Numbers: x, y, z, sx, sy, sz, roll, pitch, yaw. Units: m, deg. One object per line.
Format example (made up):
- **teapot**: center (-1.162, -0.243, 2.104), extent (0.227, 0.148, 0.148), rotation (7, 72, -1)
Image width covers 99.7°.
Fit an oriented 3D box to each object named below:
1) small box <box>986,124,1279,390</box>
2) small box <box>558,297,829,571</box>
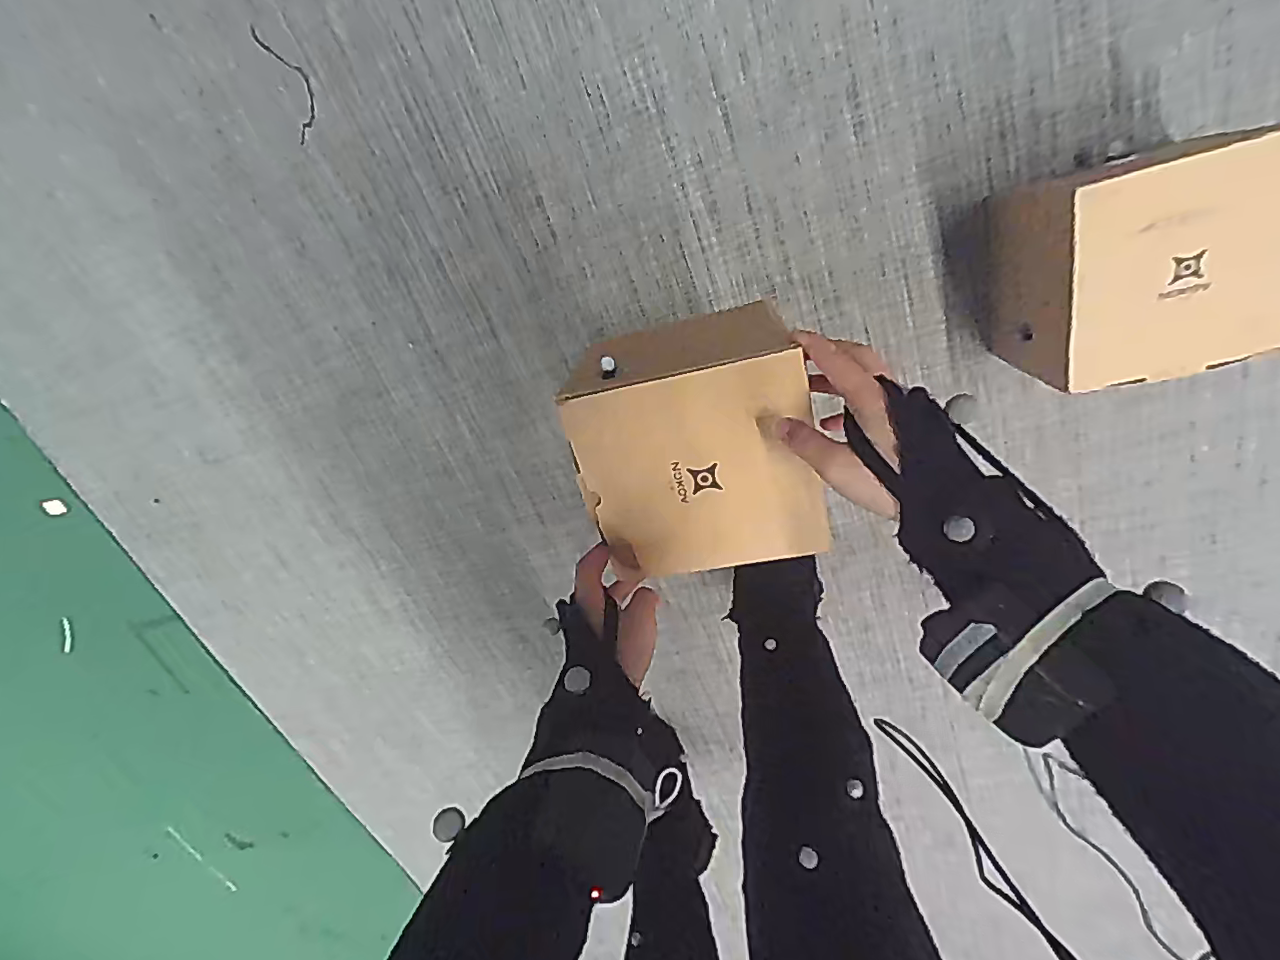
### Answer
- **small box**: center (0.449, -0.205, 0.506), extent (0.168, 0.176, 0.179), rotation (-12, 113, 14)
- **small box**: center (0.051, -0.047, 0.469), extent (0.179, 0.176, 0.168), rotation (-10, 116, 13)
